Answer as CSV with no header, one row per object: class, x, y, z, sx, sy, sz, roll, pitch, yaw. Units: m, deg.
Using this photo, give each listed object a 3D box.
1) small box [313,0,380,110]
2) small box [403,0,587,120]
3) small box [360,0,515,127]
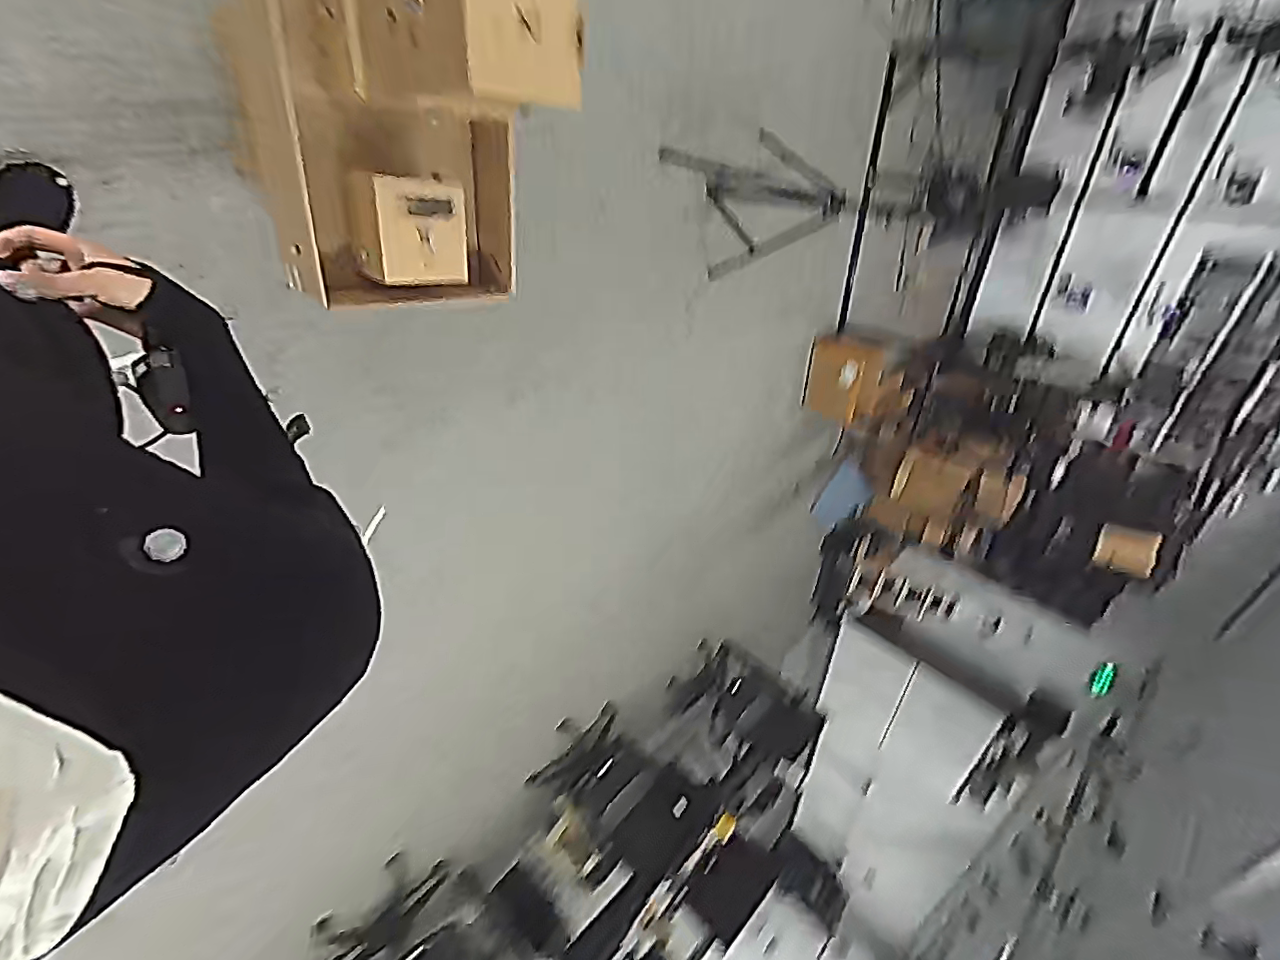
small box,-0.425,-0.722,0.909,0.179,0.176,0.168,-23,131,-40
small box,-0.191,-0.590,0.720,0.179,0.176,0.168,-24,130,-40
small box,-0.305,-0.653,0.820,0.168,0.176,0.179,-21,130,-41
